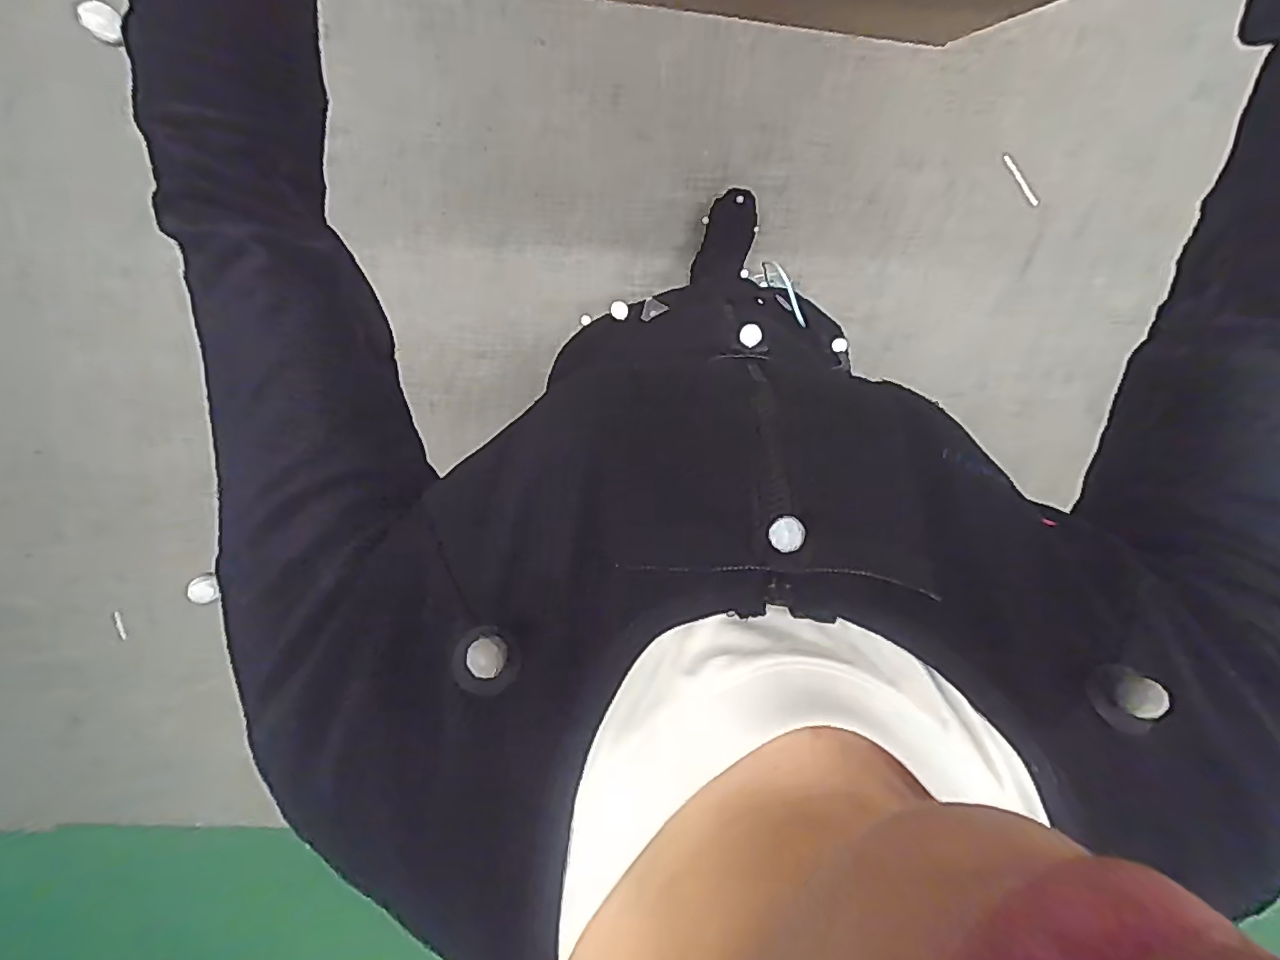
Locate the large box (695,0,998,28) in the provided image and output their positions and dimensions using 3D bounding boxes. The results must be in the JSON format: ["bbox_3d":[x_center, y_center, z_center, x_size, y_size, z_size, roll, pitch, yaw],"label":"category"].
[{"bbox_3d":[0.105,-0.492,0.293,0.408,0.320,0.320,4,121,-4],"label":"large box"}]
